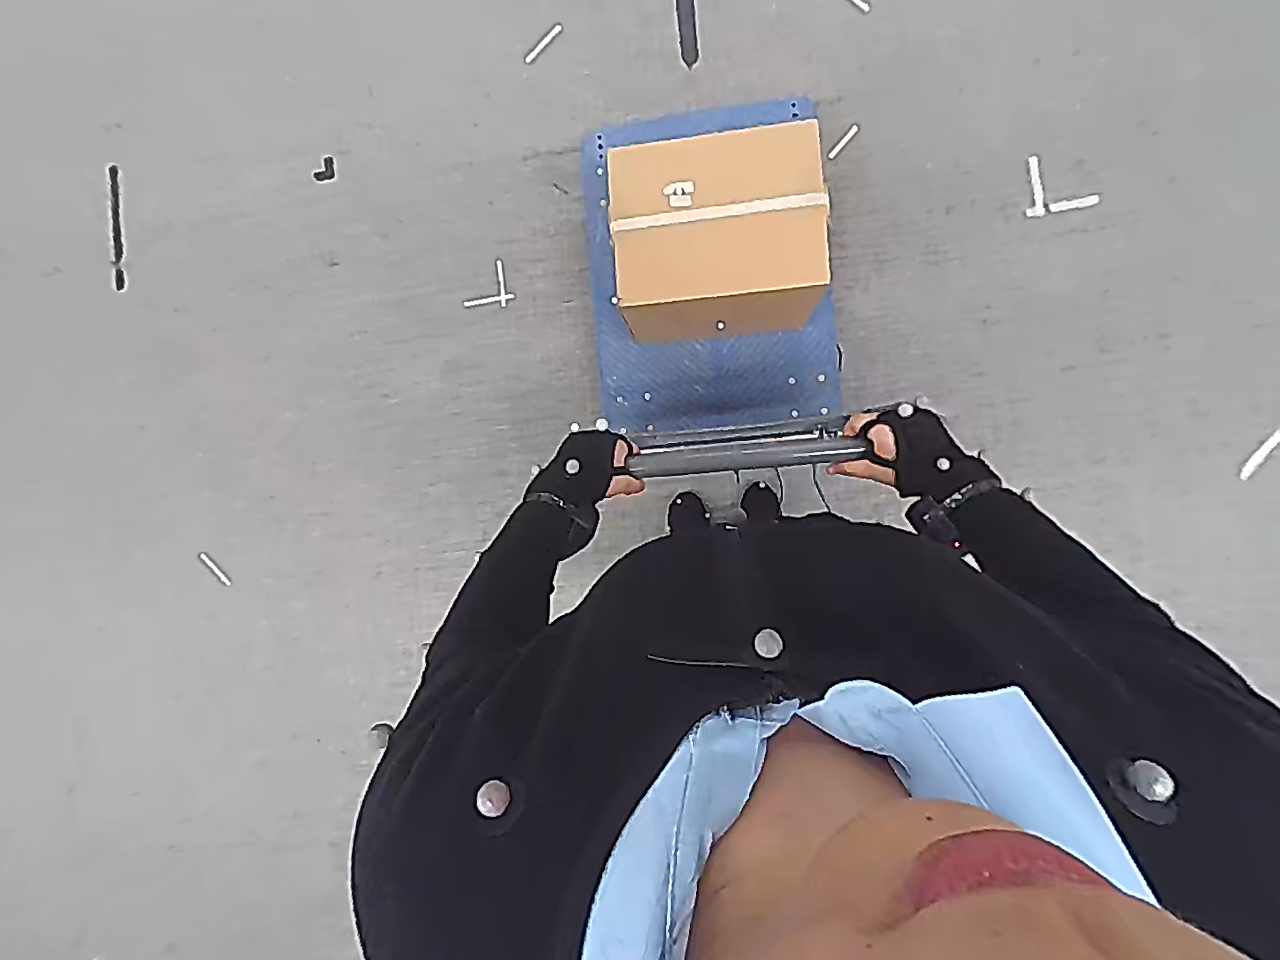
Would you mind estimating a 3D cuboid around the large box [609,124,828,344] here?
[{"bbox_3d":[0.168,-0.507,1.194,0.408,0.320,0.320,-4,88,8],"label":"large box"}]
